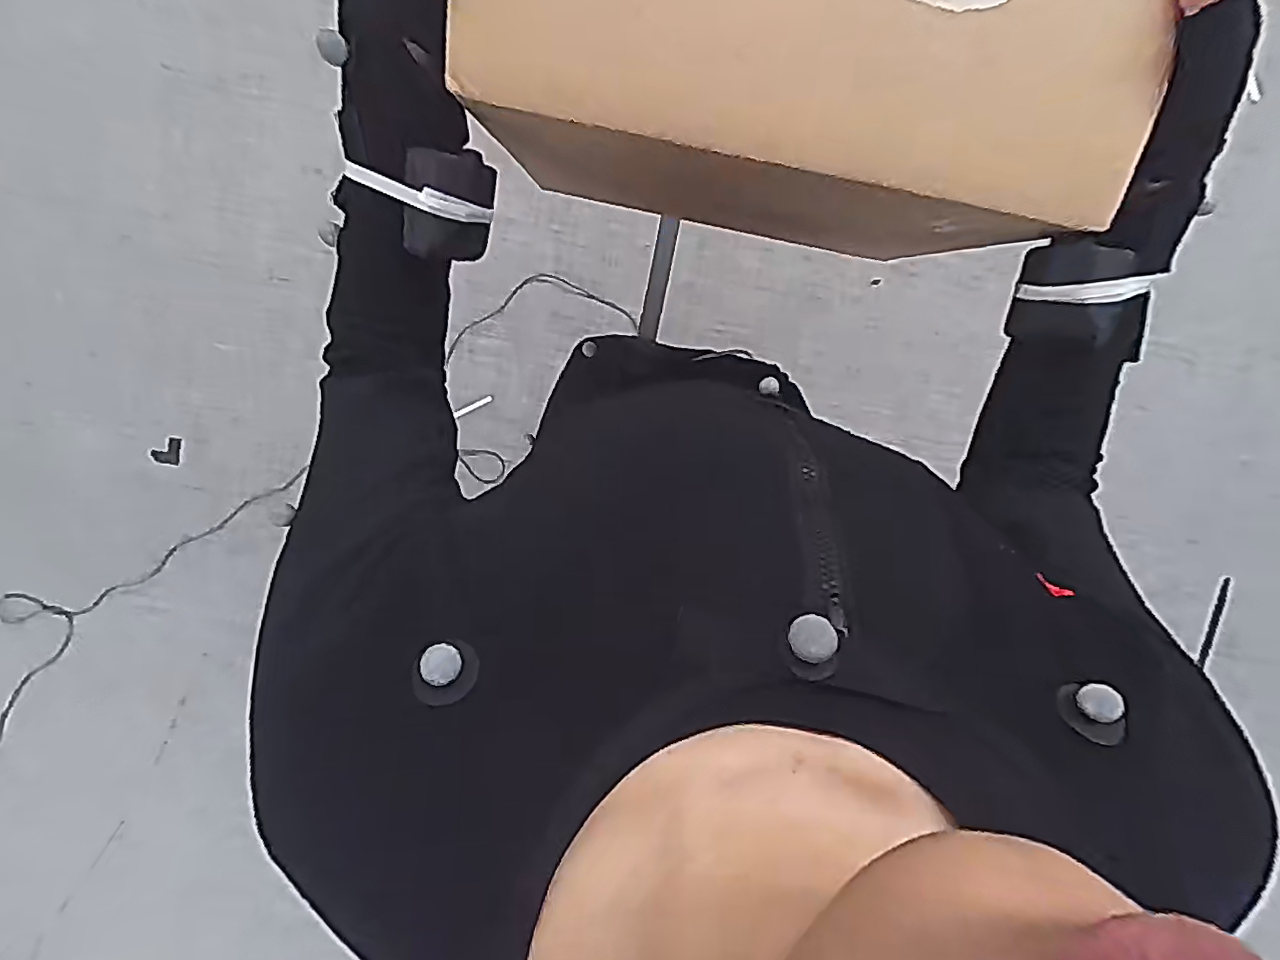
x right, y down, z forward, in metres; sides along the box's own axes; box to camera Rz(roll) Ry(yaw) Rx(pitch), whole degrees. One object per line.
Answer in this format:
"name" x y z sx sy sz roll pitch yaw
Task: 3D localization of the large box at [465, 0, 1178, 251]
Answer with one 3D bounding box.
"large box" 0.111 -0.384 0.422 0.408 0.320 0.320 9 110 -4
